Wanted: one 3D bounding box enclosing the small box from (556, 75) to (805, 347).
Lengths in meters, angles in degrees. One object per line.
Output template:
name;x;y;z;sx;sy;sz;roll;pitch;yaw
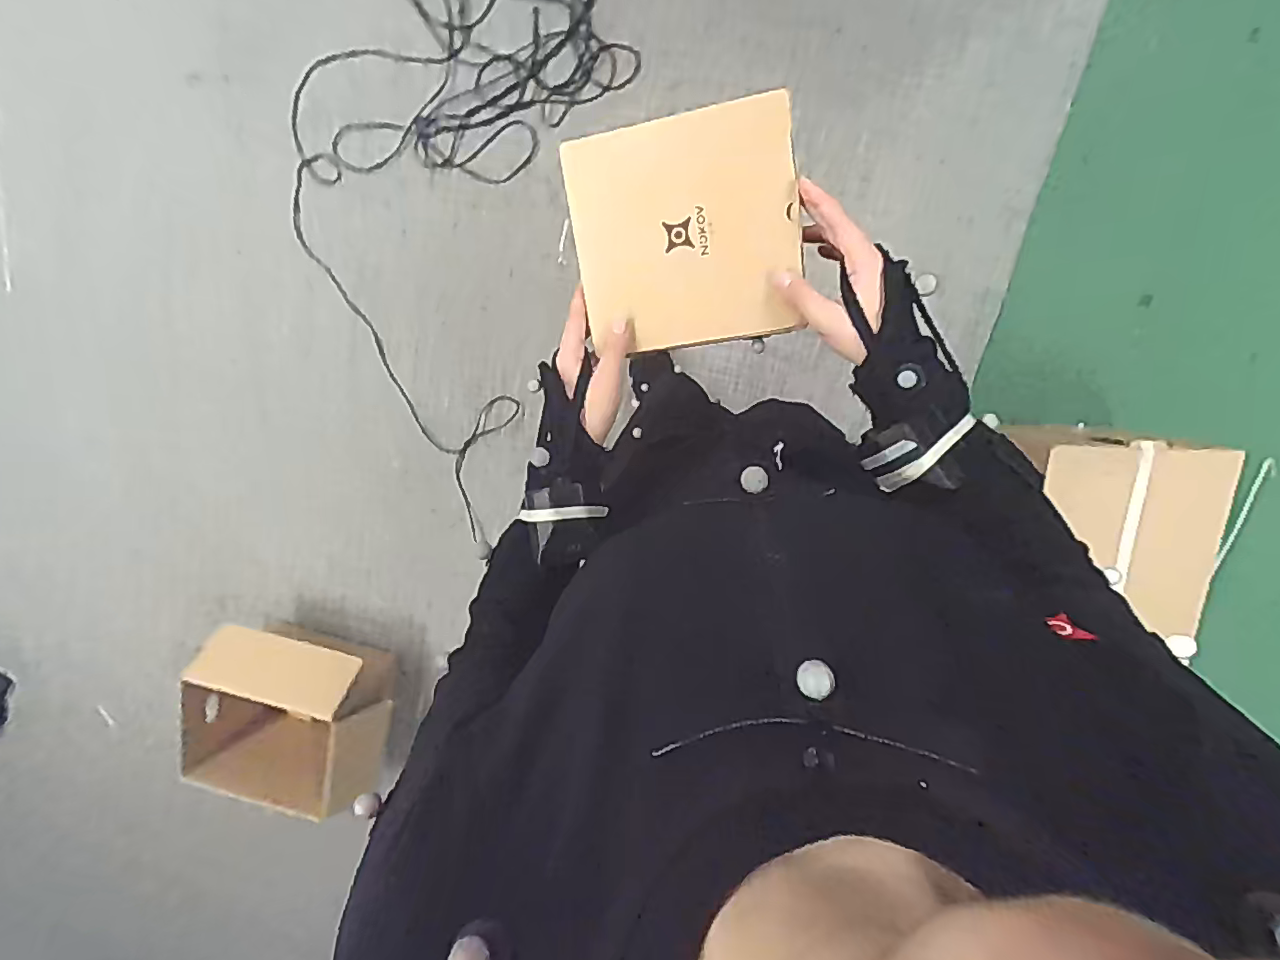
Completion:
small box;0.043;-0.213;0.482;0.179;0.176;0.168;-6;102;10
